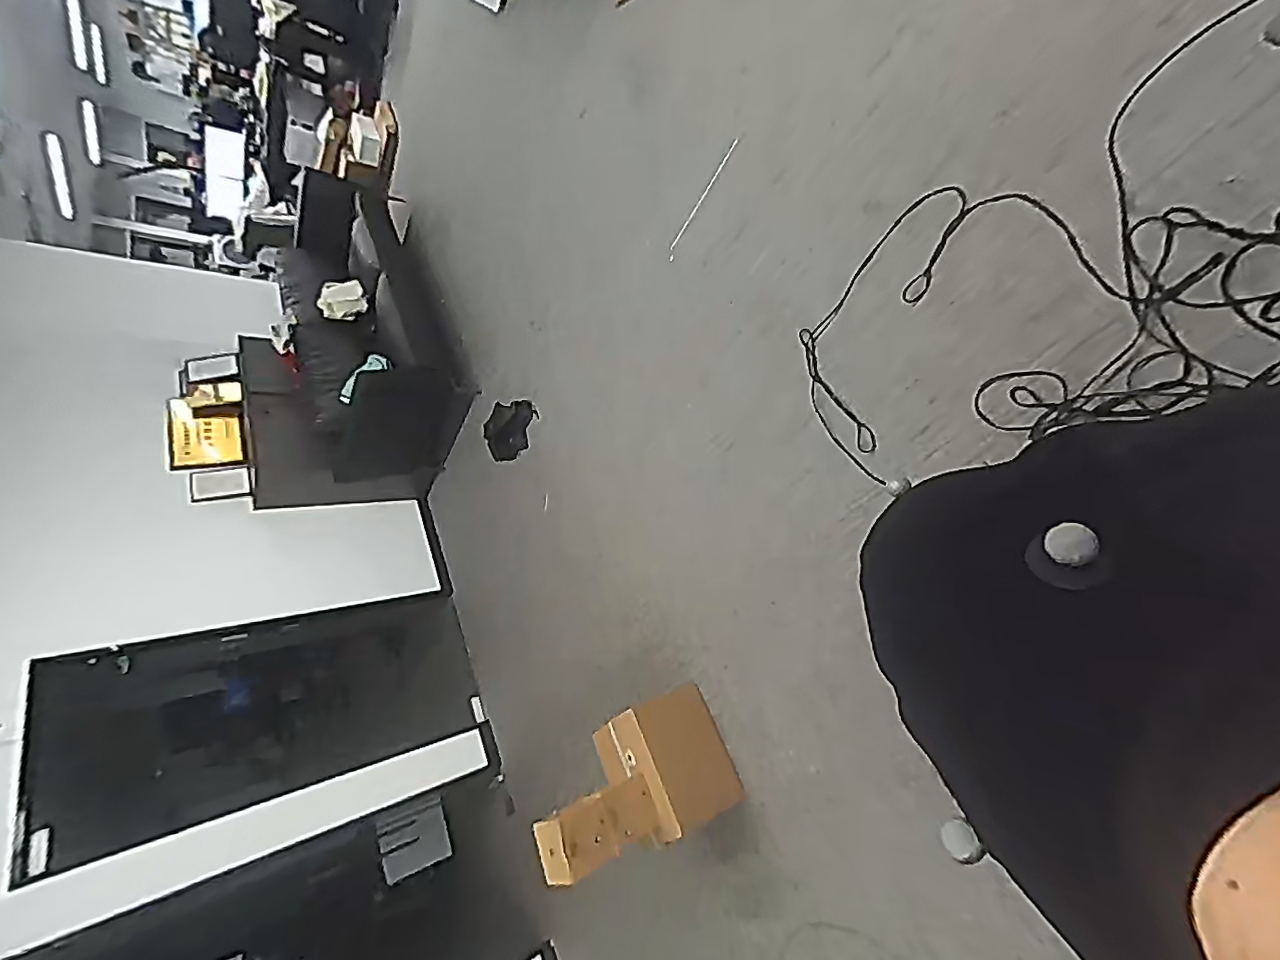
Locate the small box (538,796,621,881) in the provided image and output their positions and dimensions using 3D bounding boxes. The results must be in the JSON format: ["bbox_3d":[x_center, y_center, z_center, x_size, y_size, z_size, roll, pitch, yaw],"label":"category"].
[{"bbox_3d":[-0.183,1.086,1.642,0.179,0.176,0.168,-44,59,42],"label":"small box"}]

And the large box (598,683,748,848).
[{"bbox_3d":[0.109,1.003,1.924,0.320,0.320,0.408,-50,54,39],"label":"large box"}]
